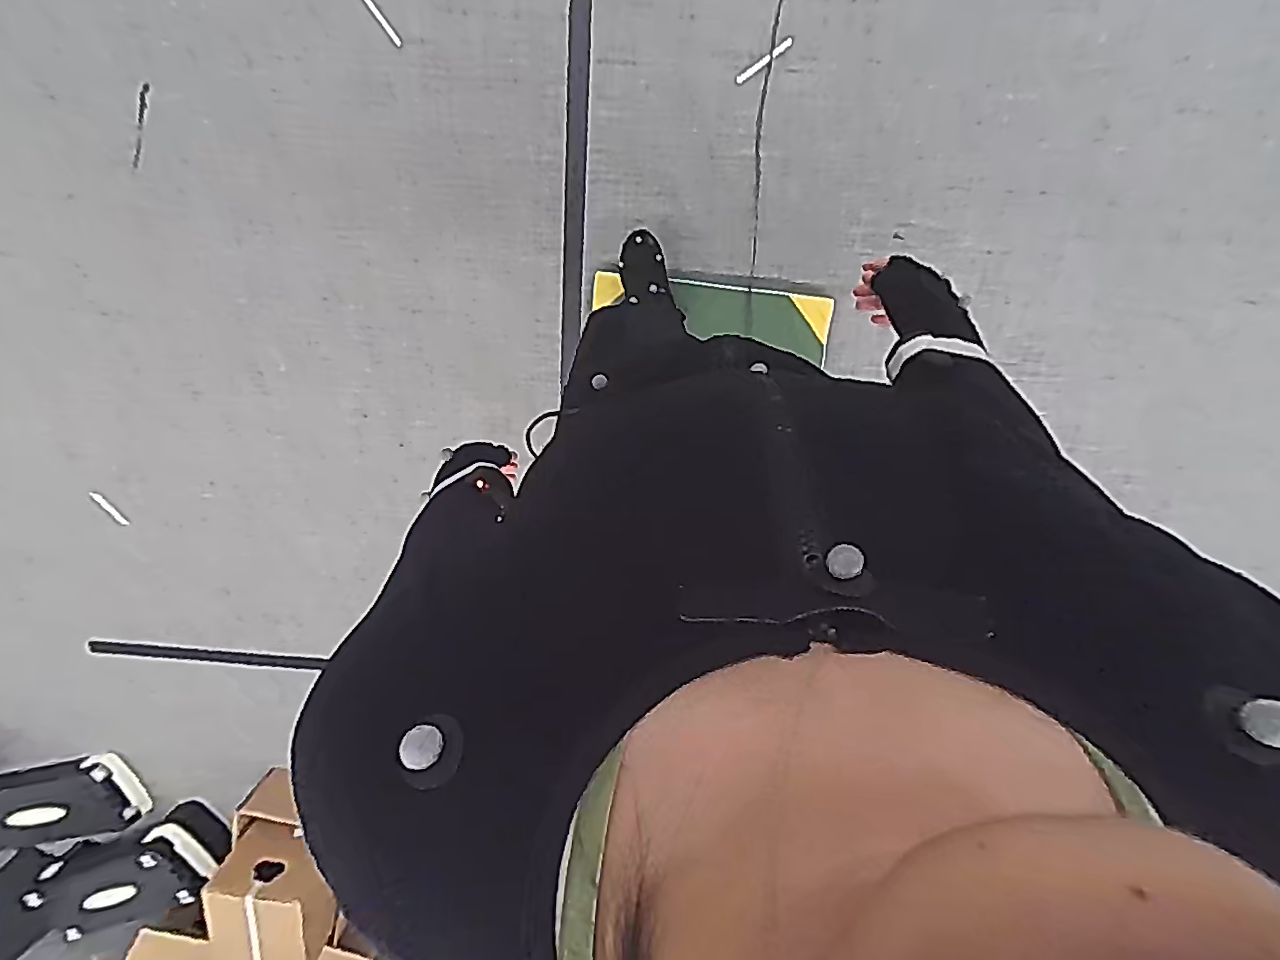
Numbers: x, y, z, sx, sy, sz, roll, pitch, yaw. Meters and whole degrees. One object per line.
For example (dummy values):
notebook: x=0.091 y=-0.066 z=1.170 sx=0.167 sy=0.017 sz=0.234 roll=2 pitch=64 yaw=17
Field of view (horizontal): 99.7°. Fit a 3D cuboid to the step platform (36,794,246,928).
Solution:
step platform: x=-1.894 y=1.453 z=2.056 sx=0.684 sy=0.204 sz=0.286 roll=-23 pitch=107 yaw=9
